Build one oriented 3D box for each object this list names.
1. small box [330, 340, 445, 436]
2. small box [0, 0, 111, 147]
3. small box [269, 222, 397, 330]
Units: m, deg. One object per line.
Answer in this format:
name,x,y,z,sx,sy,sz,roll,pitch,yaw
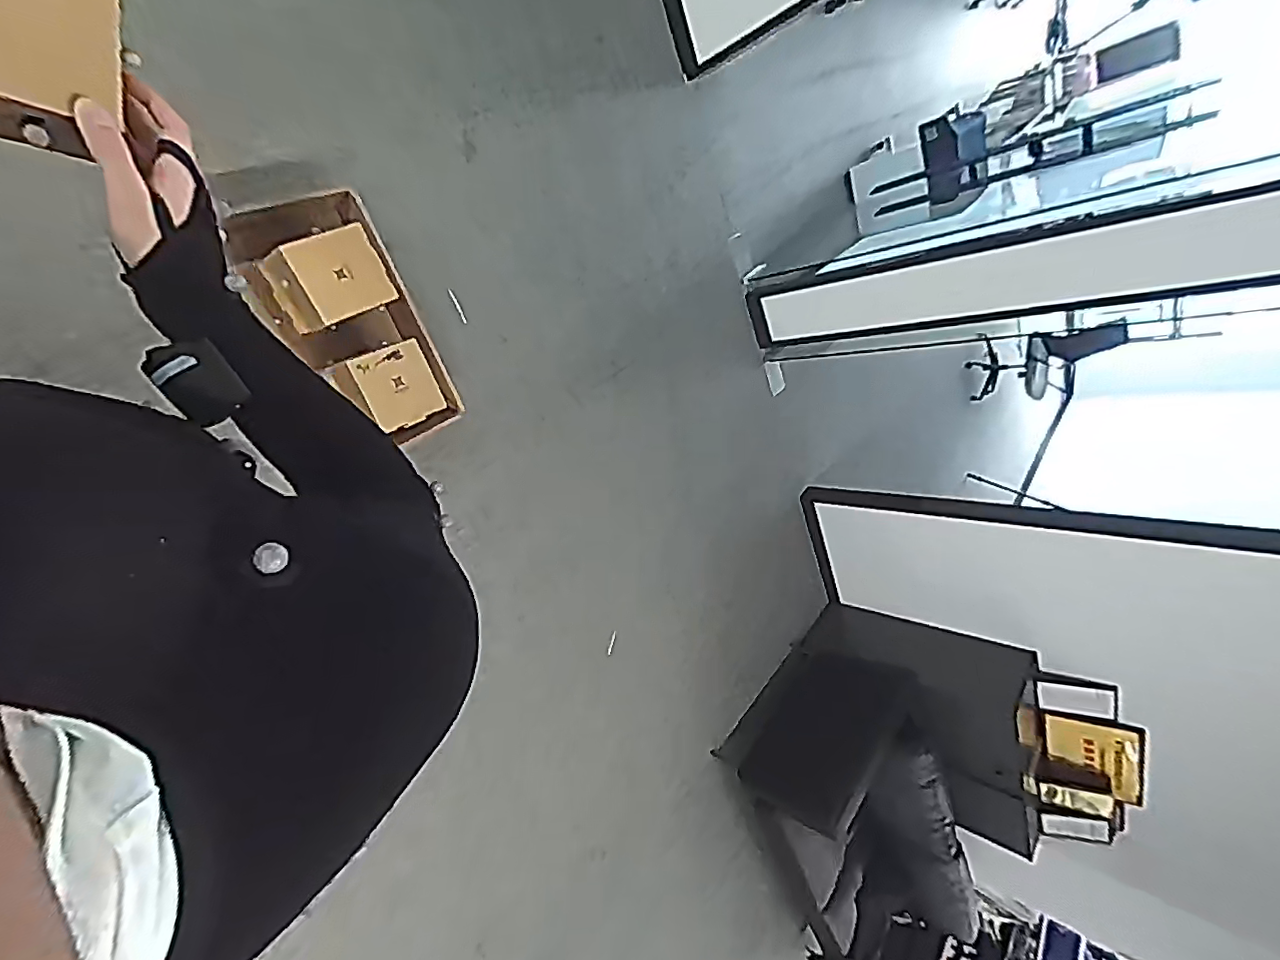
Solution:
small box,-0.602,-0.218,1.286,0.168,0.176,0.179,-34,116,-34
small box,-0.486,-0.351,0.365,0.179,0.176,0.168,-3,105,-45
small box,-0.682,-0.443,1.194,0.179,0.176,0.168,-40,122,-33
